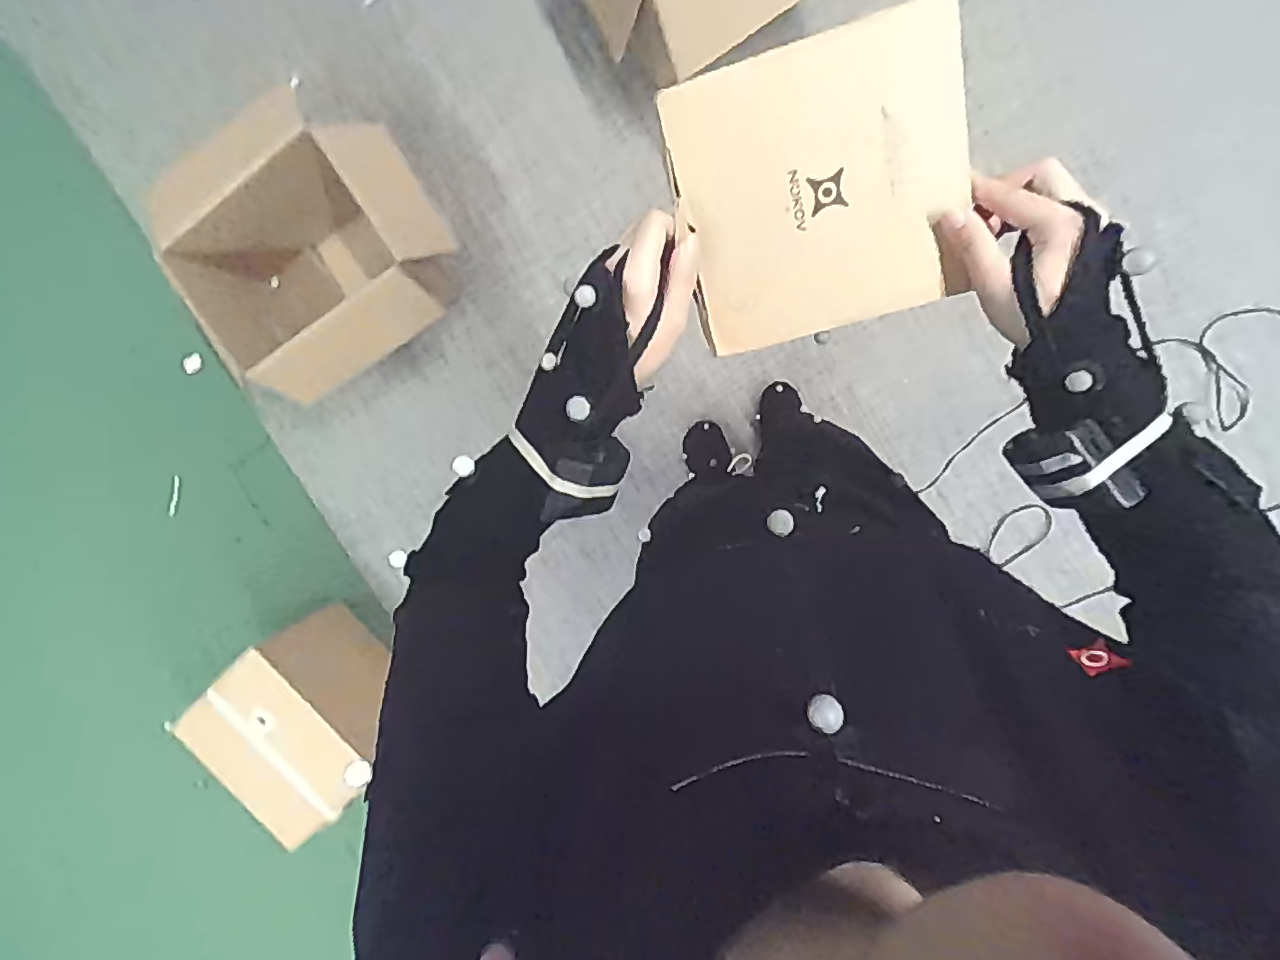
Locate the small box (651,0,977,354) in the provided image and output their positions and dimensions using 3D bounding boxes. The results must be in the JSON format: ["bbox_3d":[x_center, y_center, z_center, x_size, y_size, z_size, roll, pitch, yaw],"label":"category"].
[{"bbox_3d":[0.115,-0.204,0.407,0.179,0.176,0.168,-14,109,8],"label":"small box"}]
